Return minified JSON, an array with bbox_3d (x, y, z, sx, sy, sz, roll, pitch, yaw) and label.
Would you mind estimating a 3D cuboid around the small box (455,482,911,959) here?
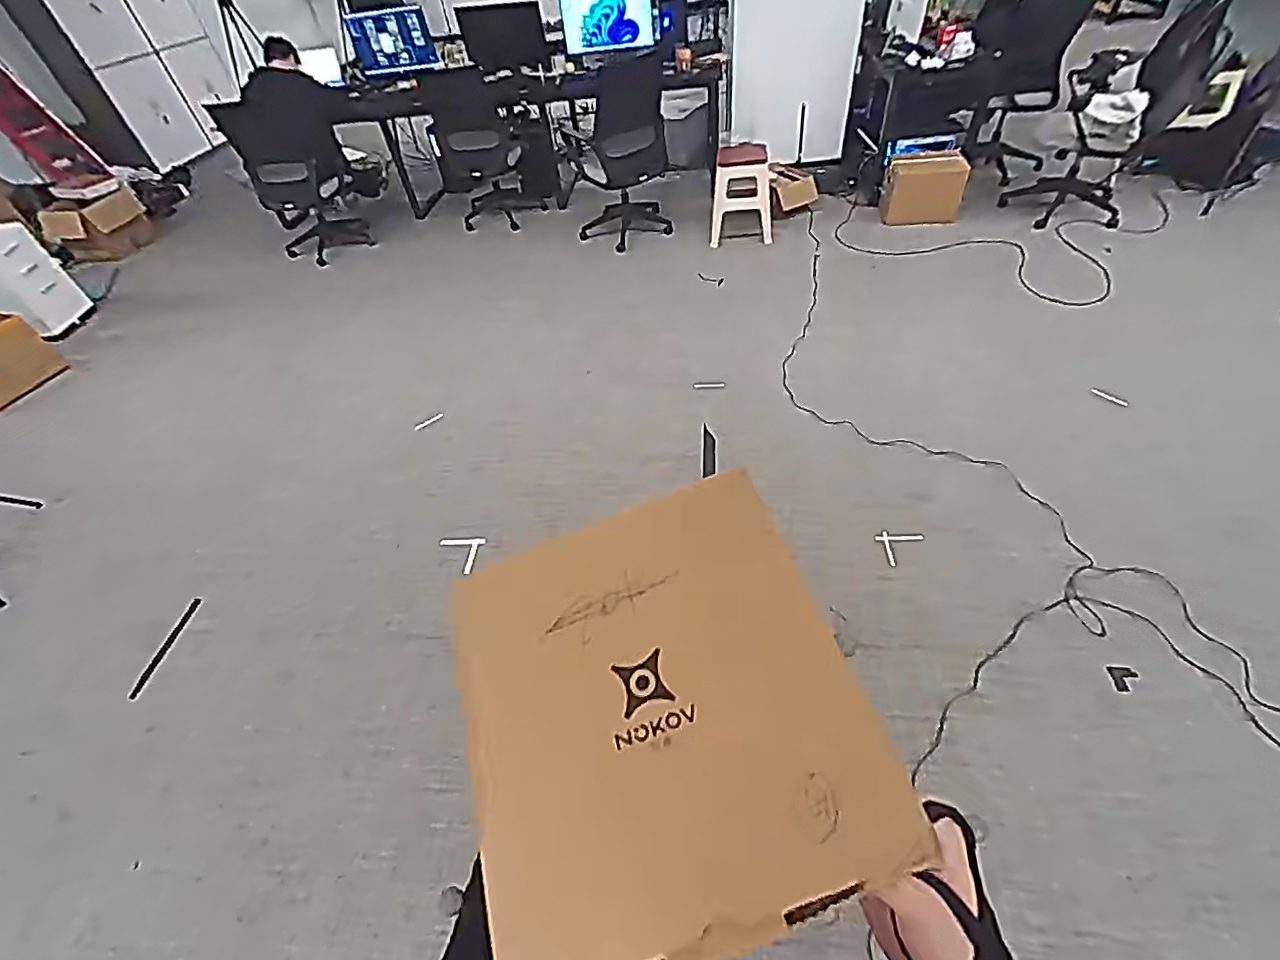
[{"bbox_3d":[0.019,0.137,0.312,0.168,0.176,0.179,-22,57,0],"label":"small box"}]
